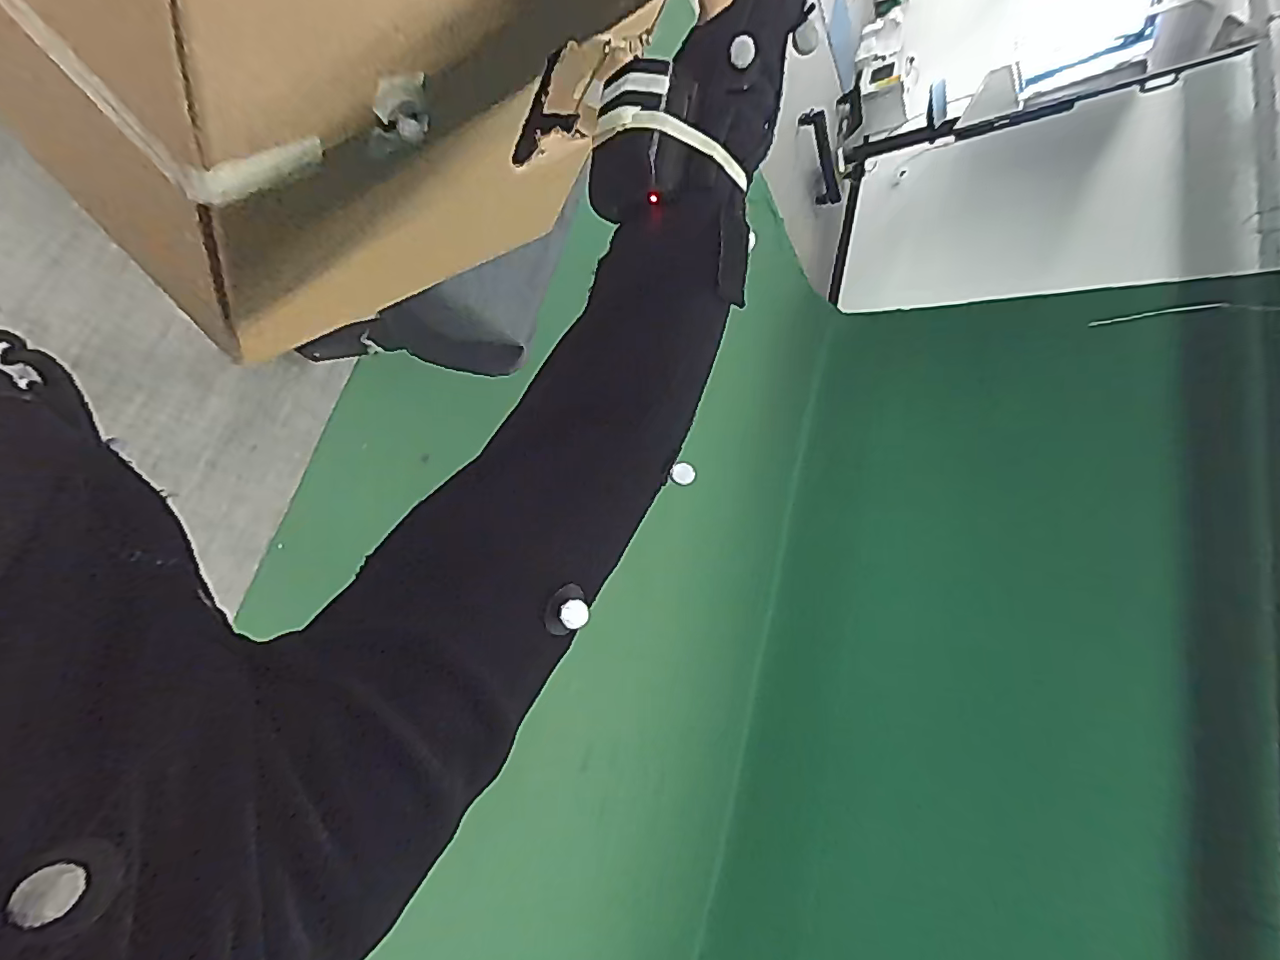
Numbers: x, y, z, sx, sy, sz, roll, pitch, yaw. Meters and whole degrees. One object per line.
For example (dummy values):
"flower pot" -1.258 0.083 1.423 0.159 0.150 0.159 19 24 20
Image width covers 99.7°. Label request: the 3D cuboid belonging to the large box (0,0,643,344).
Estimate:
"large box" -0.237 -0.365 0.304 0.408 0.320 0.320 47 54 -7
